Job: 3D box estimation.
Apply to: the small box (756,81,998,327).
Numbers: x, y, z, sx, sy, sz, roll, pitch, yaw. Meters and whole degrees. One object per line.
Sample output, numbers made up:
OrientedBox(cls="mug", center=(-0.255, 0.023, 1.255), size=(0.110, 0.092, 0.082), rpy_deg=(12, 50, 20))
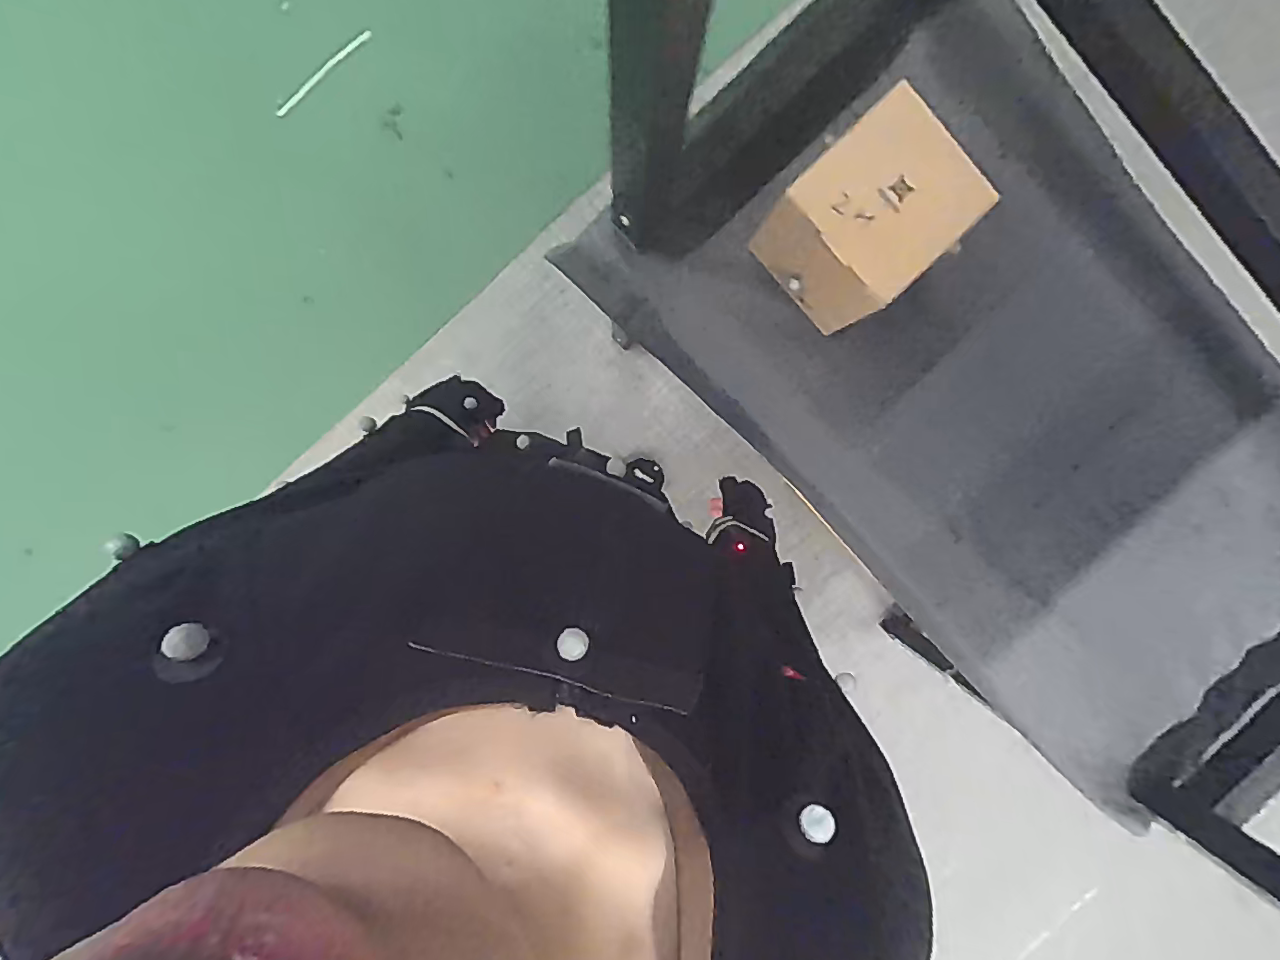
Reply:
OrientedBox(cls="small box", center=(0.270, -0.316, 0.661), size=(0.179, 0.176, 0.168), rpy_deg=(-43, 95, 1))
